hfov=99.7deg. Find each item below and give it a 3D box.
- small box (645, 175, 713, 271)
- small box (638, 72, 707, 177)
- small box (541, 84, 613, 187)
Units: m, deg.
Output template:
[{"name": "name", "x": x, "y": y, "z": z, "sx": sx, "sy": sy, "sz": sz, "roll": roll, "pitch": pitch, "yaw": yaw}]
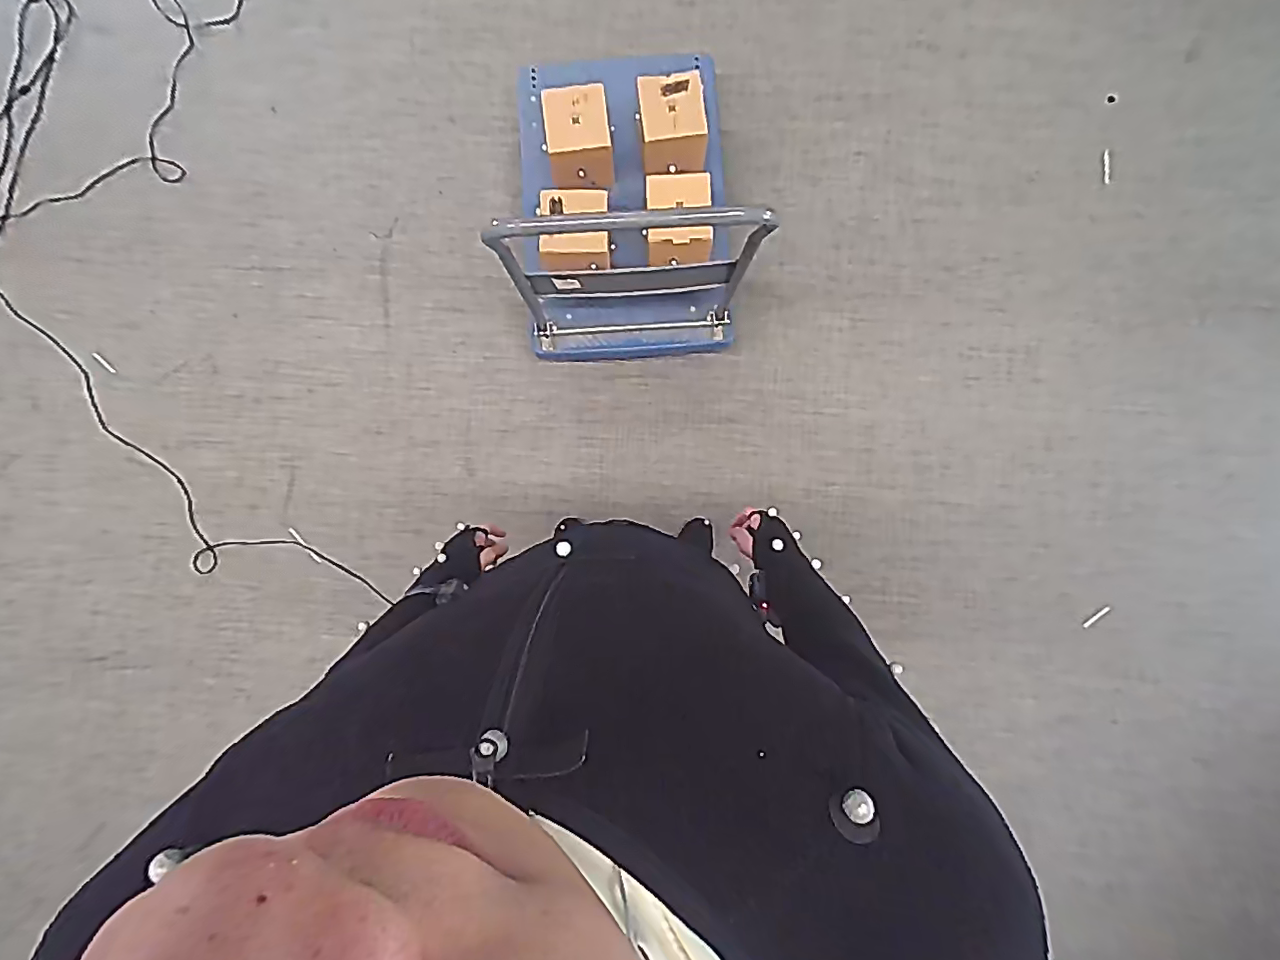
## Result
[{"name": "small box", "x": 0.099, "y": -0.685, "z": 1.452, "sx": 0.168, "sy": 0.176, "sz": 0.179, "roll": -2, "pitch": 87, "yaw": 0}, {"name": "small box", "x": 0.083, "y": -0.954, "z": 1.467, "sx": 0.168, "sy": 0.176, "sz": 0.179, "roll": -7, "pitch": 87, "yaw": 1}, {"name": "small box", "x": -0.167, "y": -0.922, "z": 1.467, "sx": 0.168, "sy": 0.176, "sz": 0.179, "roll": -7, "pitch": 86, "yaw": -1}]
